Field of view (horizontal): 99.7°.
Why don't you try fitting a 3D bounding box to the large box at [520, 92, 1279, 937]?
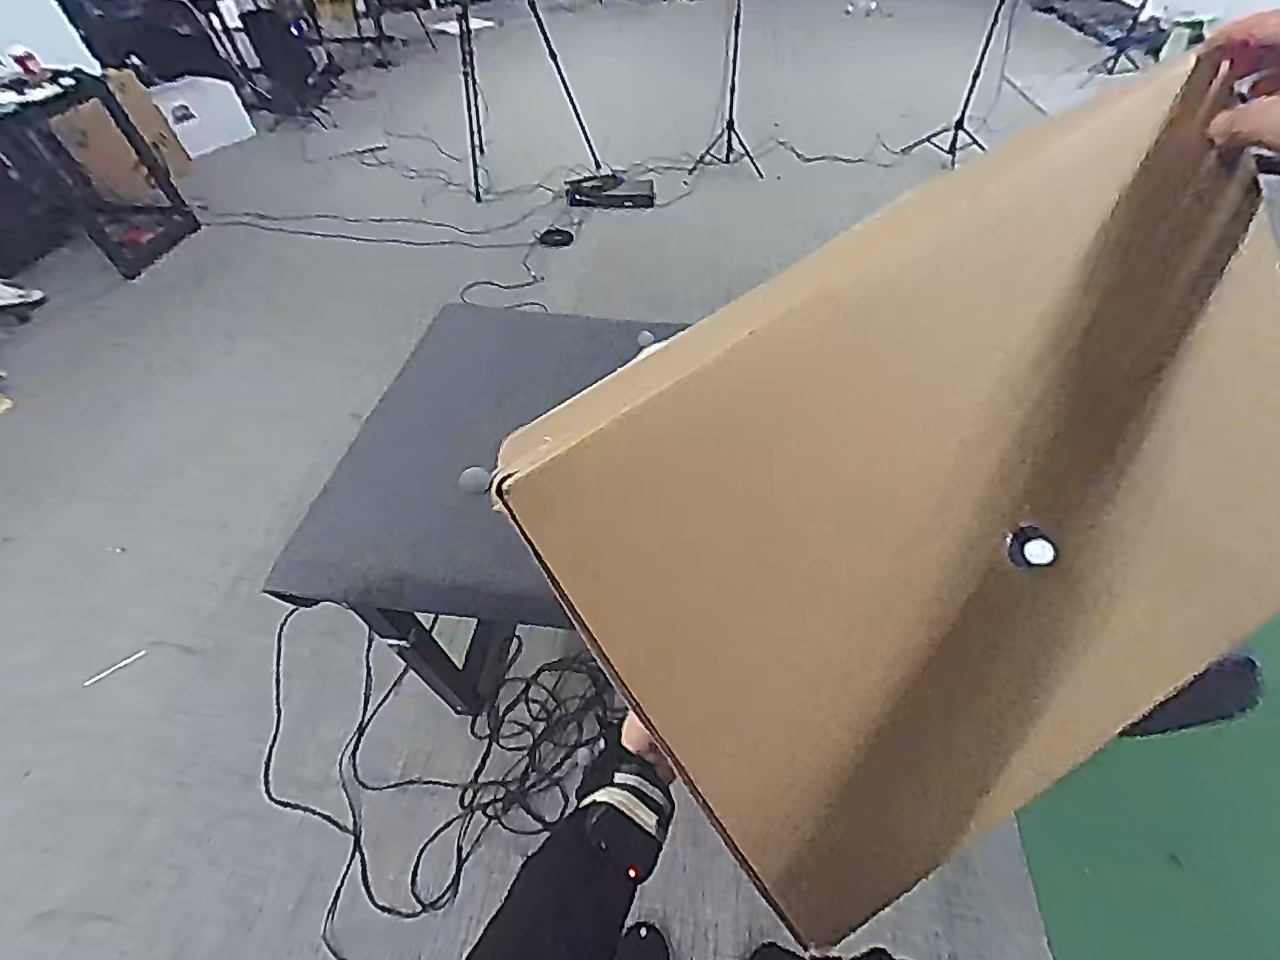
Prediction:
[{"bbox_3d":[0.162,0.010,0.432,0.408,0.320,0.320,-34,13,-6],"label":"large box"}]
